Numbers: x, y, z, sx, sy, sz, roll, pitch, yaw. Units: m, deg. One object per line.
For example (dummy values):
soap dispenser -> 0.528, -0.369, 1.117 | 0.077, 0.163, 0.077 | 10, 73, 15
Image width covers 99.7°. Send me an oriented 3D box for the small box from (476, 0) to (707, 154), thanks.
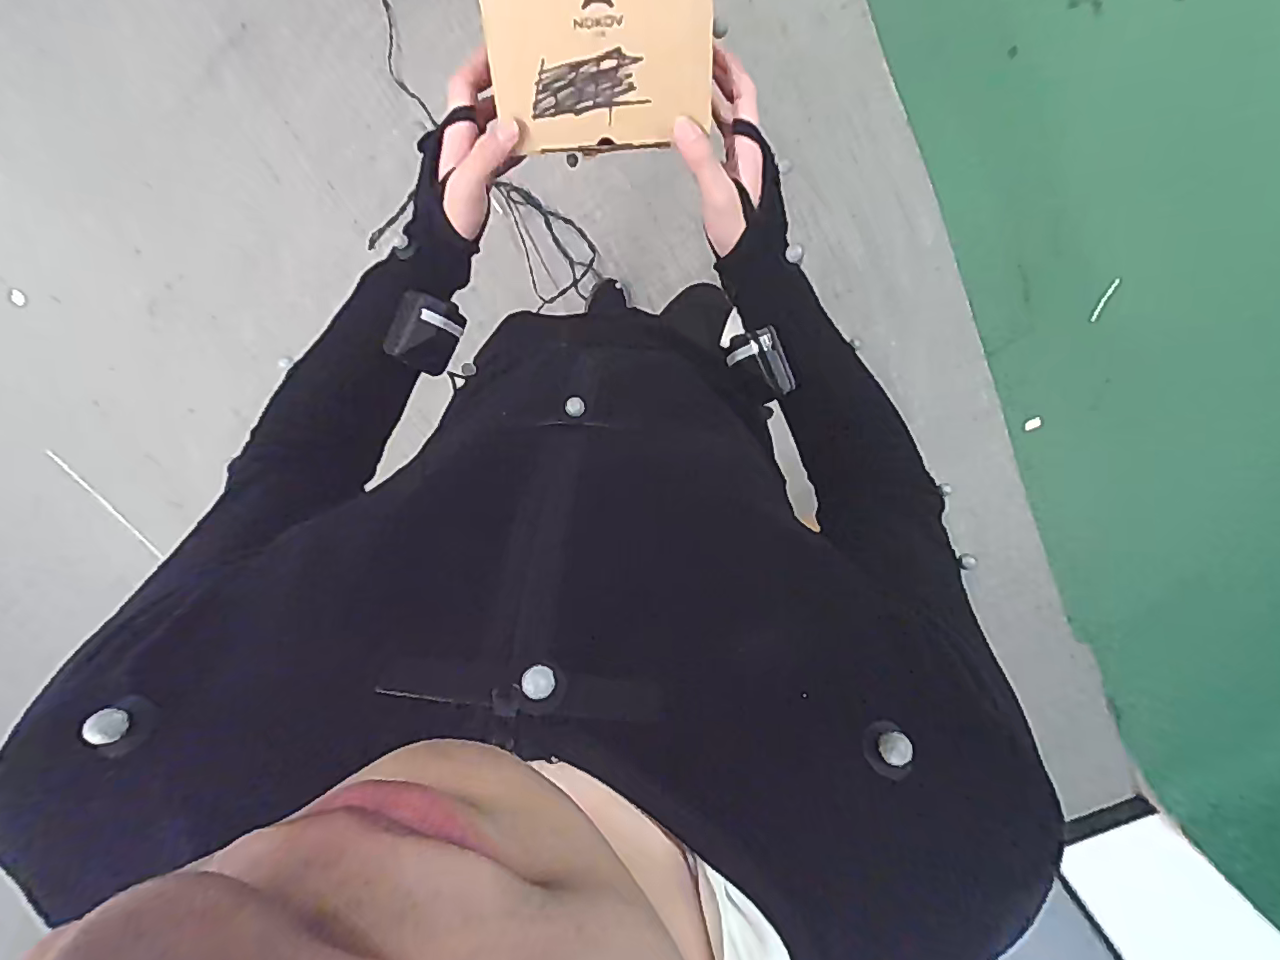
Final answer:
small box -> -0.029, -0.376, 0.446 | 0.168, 0.176, 0.179 | -1, 121, 4
